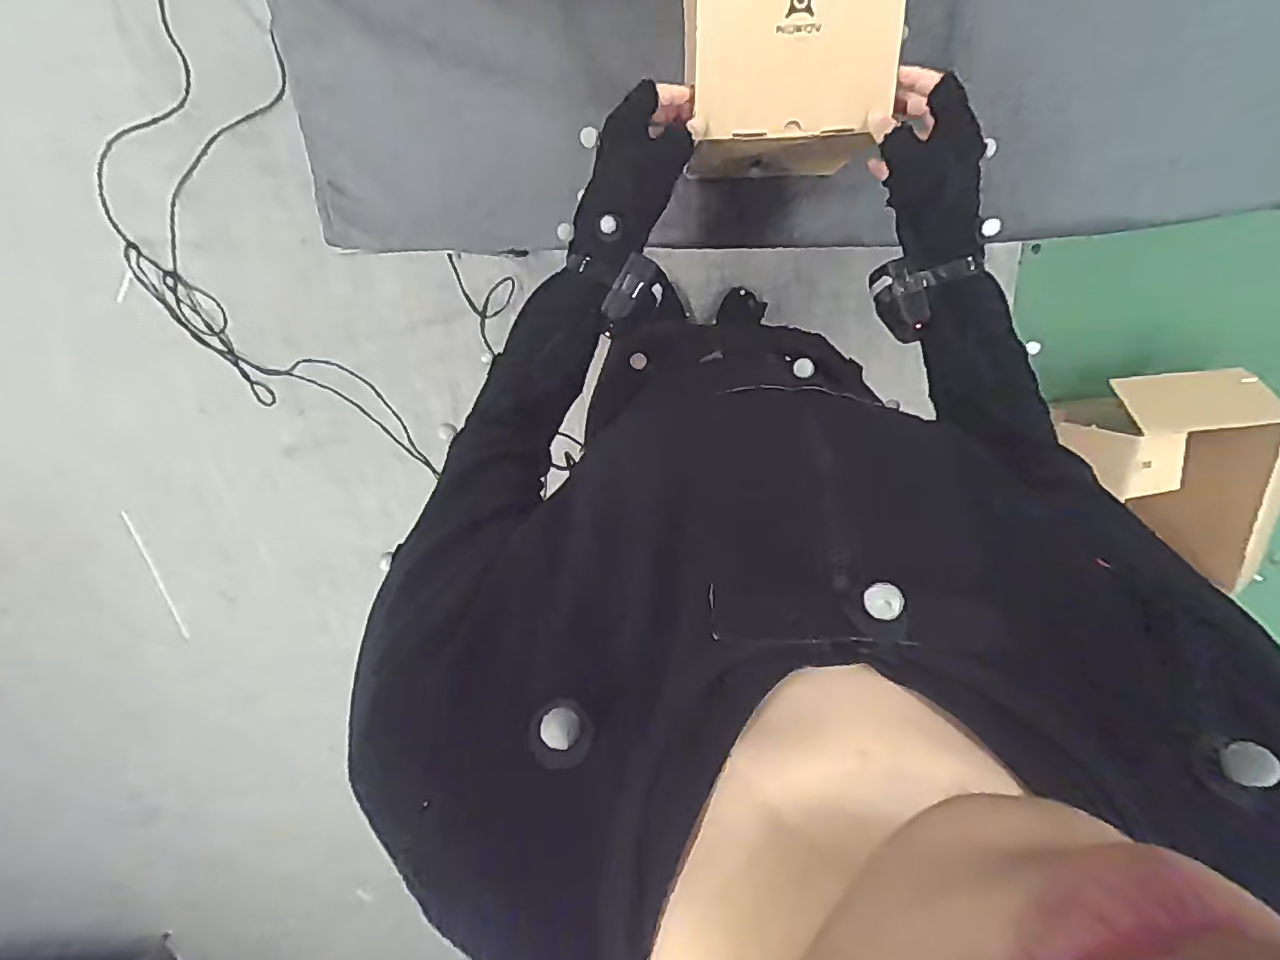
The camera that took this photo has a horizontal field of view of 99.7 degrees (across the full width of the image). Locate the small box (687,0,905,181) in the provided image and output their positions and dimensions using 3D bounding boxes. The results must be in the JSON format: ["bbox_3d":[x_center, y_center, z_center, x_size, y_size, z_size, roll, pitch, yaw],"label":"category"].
[{"bbox_3d":[0.131,-0.397,0.508,0.168,0.176,0.179,-1,110,3],"label":"small box"}]
